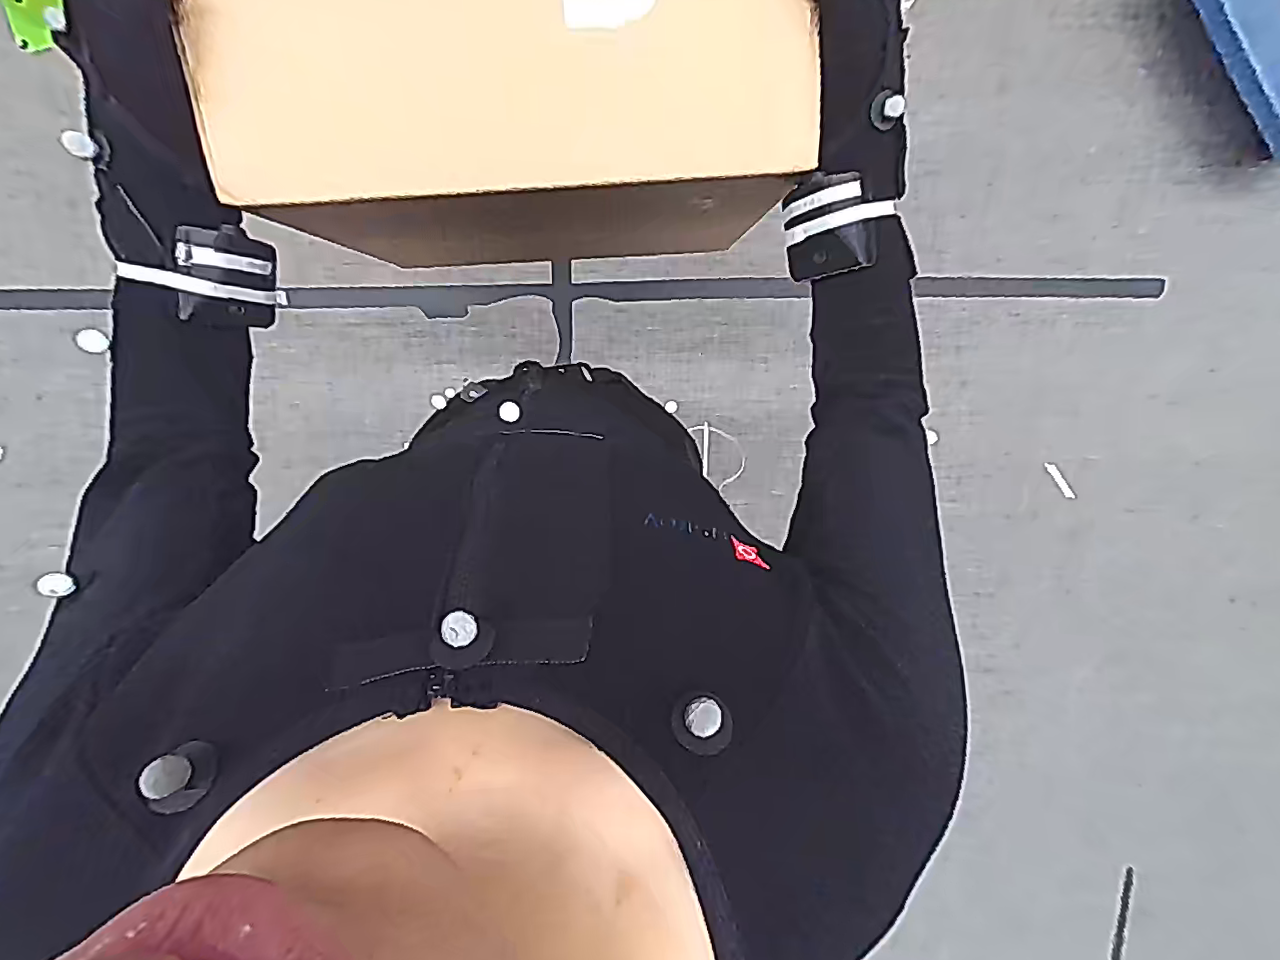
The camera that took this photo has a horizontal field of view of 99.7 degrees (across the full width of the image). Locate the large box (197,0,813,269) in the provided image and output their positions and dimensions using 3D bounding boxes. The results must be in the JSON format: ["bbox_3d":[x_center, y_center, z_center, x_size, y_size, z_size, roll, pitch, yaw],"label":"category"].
[{"bbox_3d":[-0.095,-0.390,0.488,0.408,0.320,0.320,-4,103,-1],"label":"large box"}]
